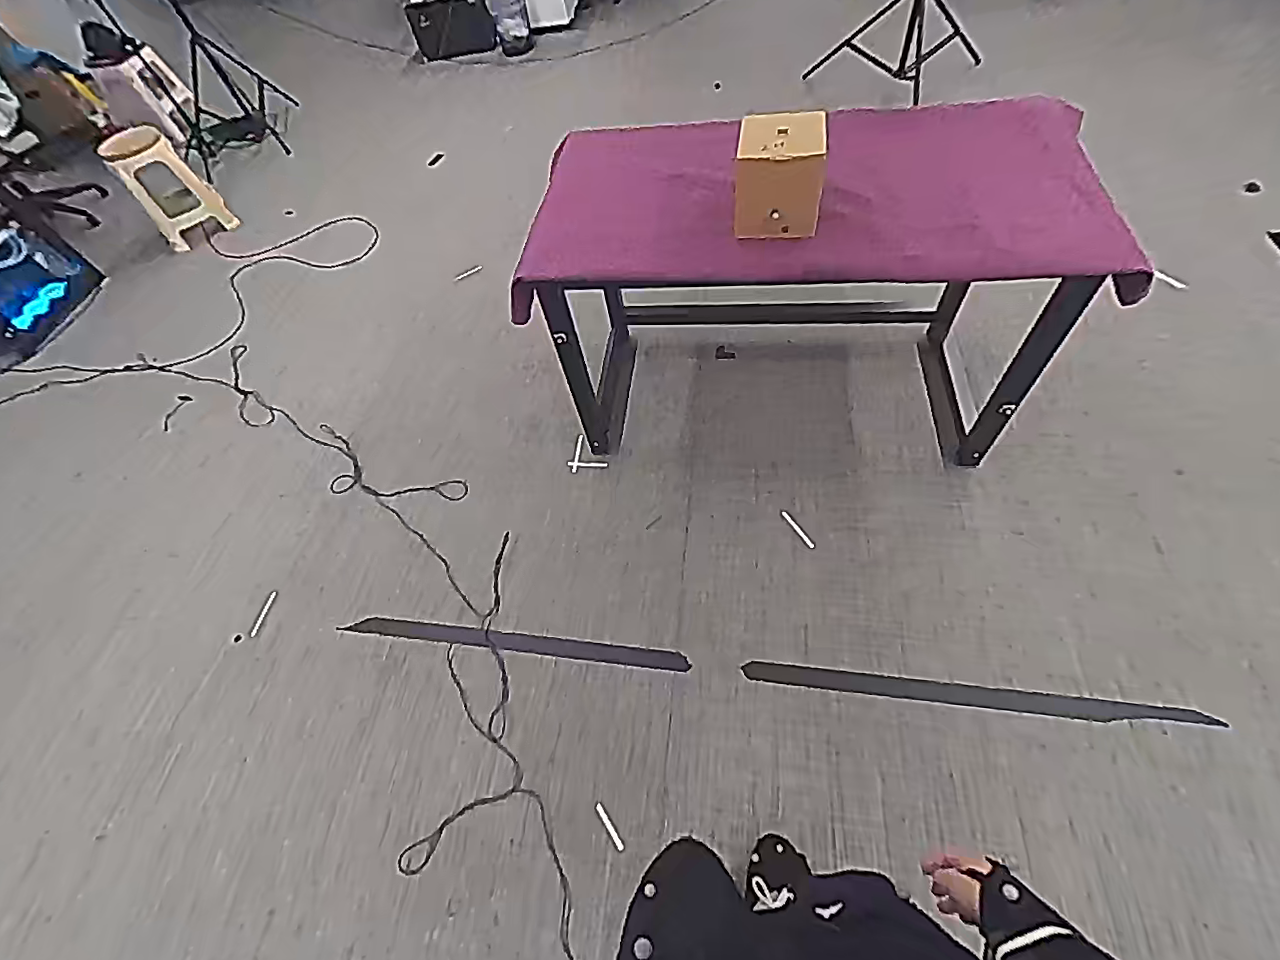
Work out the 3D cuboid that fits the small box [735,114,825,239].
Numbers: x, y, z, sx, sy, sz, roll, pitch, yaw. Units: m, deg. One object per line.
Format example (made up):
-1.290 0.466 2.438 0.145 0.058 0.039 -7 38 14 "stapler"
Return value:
0.288 -0.628 1.126 0.168 0.176 0.179 4 58 12 "small box"
